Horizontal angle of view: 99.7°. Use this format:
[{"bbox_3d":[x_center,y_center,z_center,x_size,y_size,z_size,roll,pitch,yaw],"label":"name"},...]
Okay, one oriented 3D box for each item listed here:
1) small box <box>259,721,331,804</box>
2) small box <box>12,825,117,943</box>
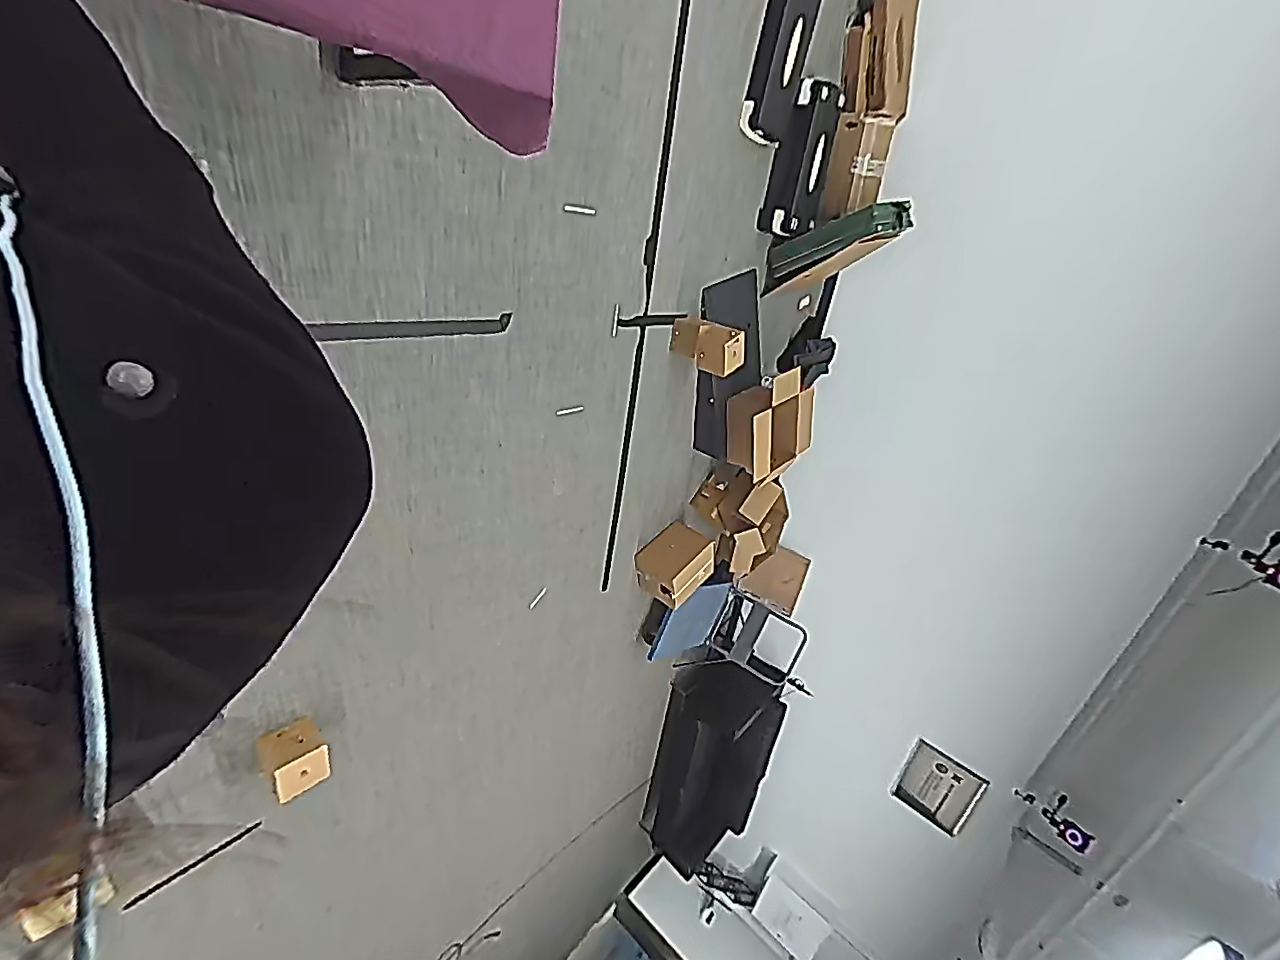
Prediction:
[{"bbox_3d":[-1.233,0.995,1.930,0.168,0.176,0.179,-20,129,-47],"label":"small box"},{"bbox_3d":[-1.599,1.109,1.504,0.168,0.176,0.179,-17,127,-47],"label":"small box"}]
